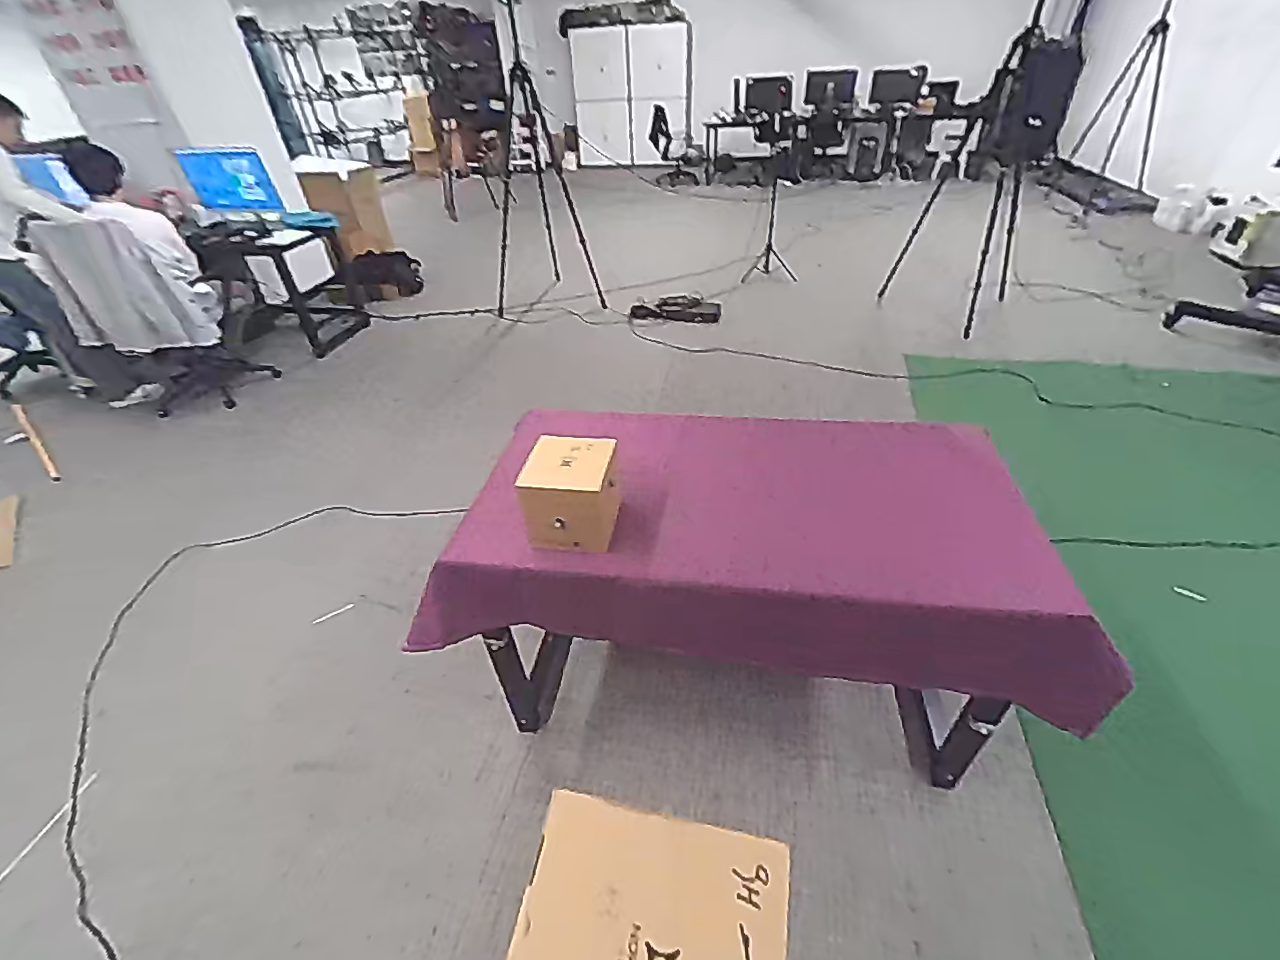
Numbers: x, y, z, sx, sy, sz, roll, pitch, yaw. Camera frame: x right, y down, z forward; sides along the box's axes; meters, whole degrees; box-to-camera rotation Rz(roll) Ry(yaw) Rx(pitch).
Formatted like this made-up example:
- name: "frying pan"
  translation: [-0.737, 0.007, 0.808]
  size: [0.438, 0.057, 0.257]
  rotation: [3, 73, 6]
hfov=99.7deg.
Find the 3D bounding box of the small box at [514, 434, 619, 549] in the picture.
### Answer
- name: "small box"
  translation: [-0.142, 0.024, 1.125]
  size: [0.168, 0.176, 0.179]
  rotation: [4, 38, 9]
